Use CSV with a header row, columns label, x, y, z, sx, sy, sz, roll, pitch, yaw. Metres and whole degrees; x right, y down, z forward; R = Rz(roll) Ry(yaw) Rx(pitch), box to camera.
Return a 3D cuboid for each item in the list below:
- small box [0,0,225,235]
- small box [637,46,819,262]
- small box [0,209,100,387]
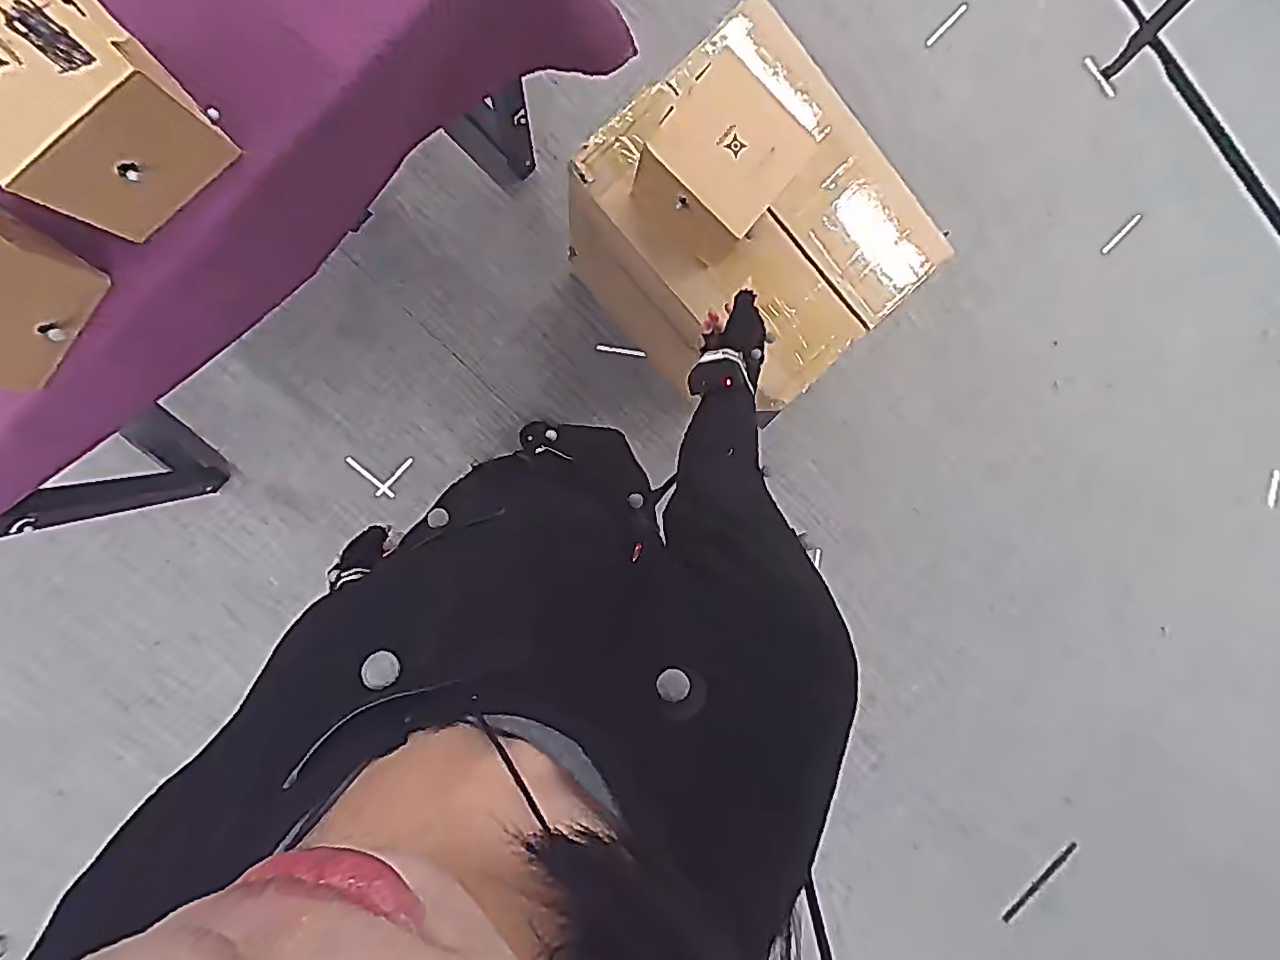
label,x,y,z,sx,sy,sz,roll,pitch,yaw
small box,-0.606,-0.408,0.587,0.179,0.176,0.168,-42,98,-1
small box,0.112,-0.447,0.779,0.179,0.176,0.168,40,93,-10
small box,-0.764,-0.221,0.587,0.168,0.176,0.179,33,90,-8
